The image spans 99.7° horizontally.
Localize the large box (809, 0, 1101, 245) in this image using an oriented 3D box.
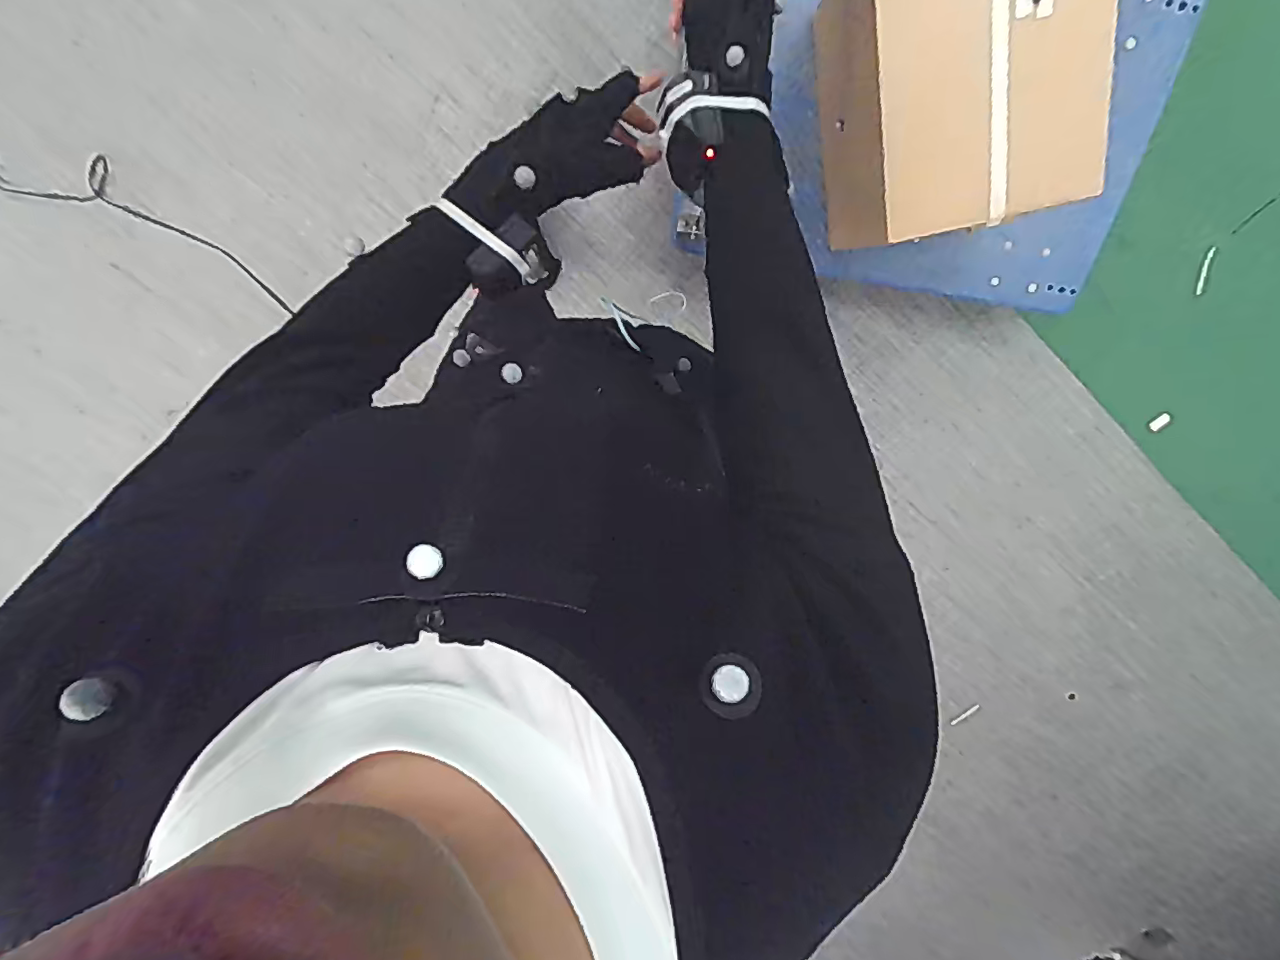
[{"bbox_3d":[0.487,-0.643,0.894,0.320,0.320,0.408,-11,110,6],"label":"large box"}]
